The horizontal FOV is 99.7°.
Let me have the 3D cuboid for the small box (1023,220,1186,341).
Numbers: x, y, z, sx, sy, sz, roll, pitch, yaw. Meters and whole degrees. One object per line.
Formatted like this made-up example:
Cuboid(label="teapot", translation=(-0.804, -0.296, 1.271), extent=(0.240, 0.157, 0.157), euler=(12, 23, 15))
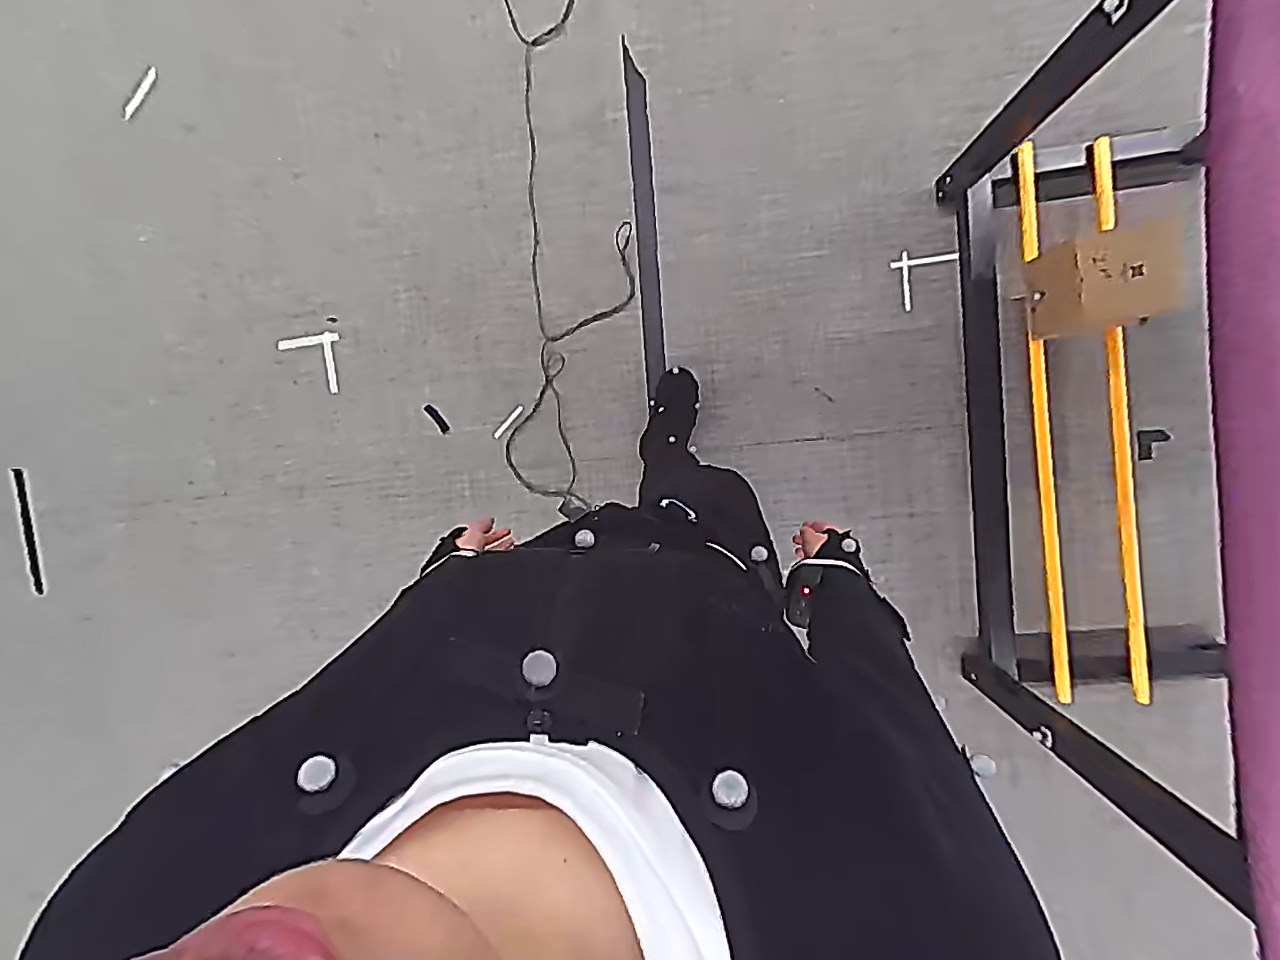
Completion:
Cuboid(label="small box", translation=(0.893, -0.378, 1.053), extent=(0.179, 0.176, 0.168), euler=(-8, 93, 8))
